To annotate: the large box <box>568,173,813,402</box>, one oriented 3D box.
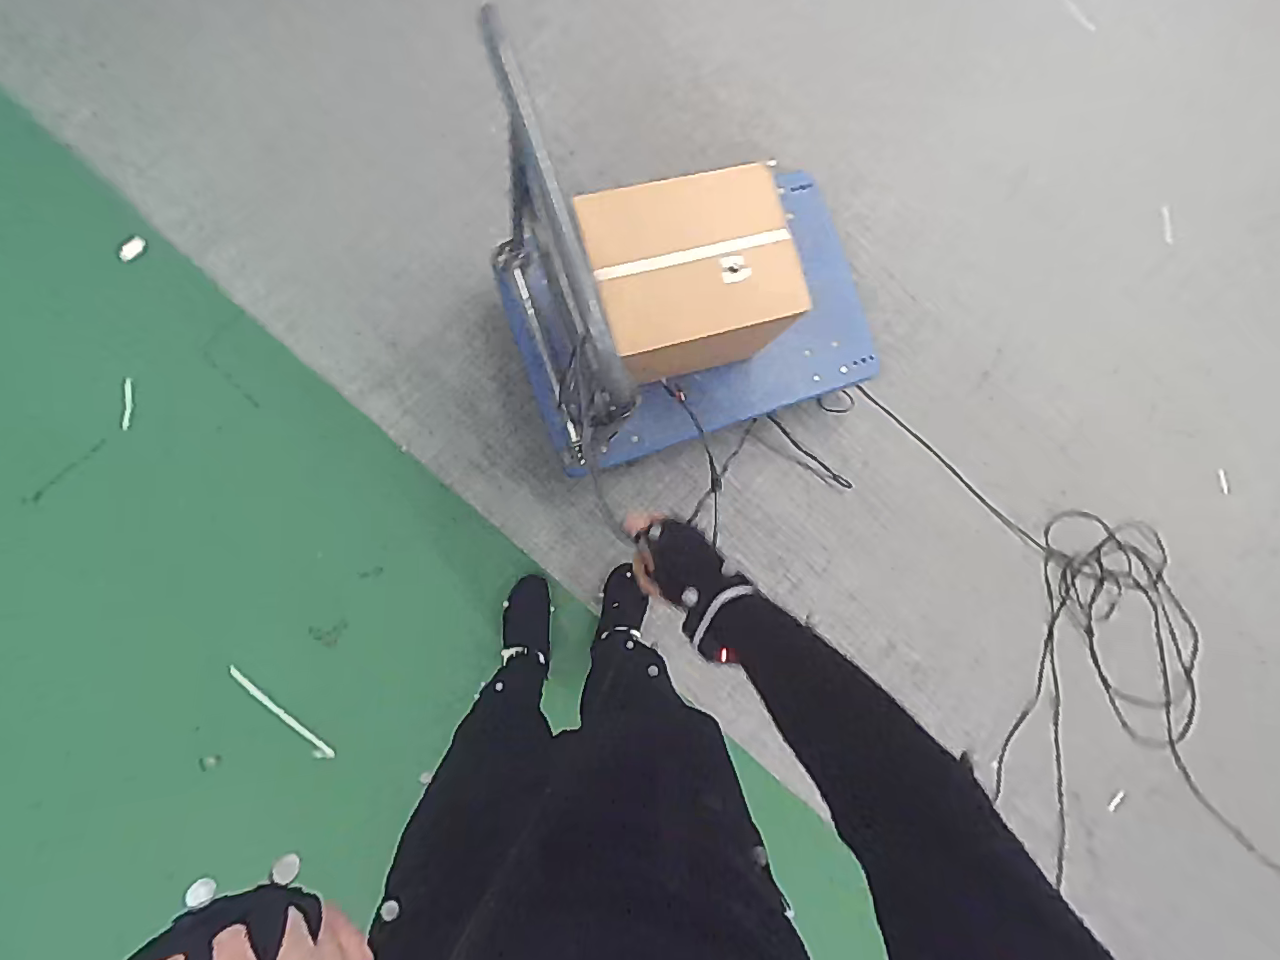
[{"bbox_3d":[0.084,-0.392,1.168,0.408,0.320,0.320,-16,89,-12],"label":"large box"}]
